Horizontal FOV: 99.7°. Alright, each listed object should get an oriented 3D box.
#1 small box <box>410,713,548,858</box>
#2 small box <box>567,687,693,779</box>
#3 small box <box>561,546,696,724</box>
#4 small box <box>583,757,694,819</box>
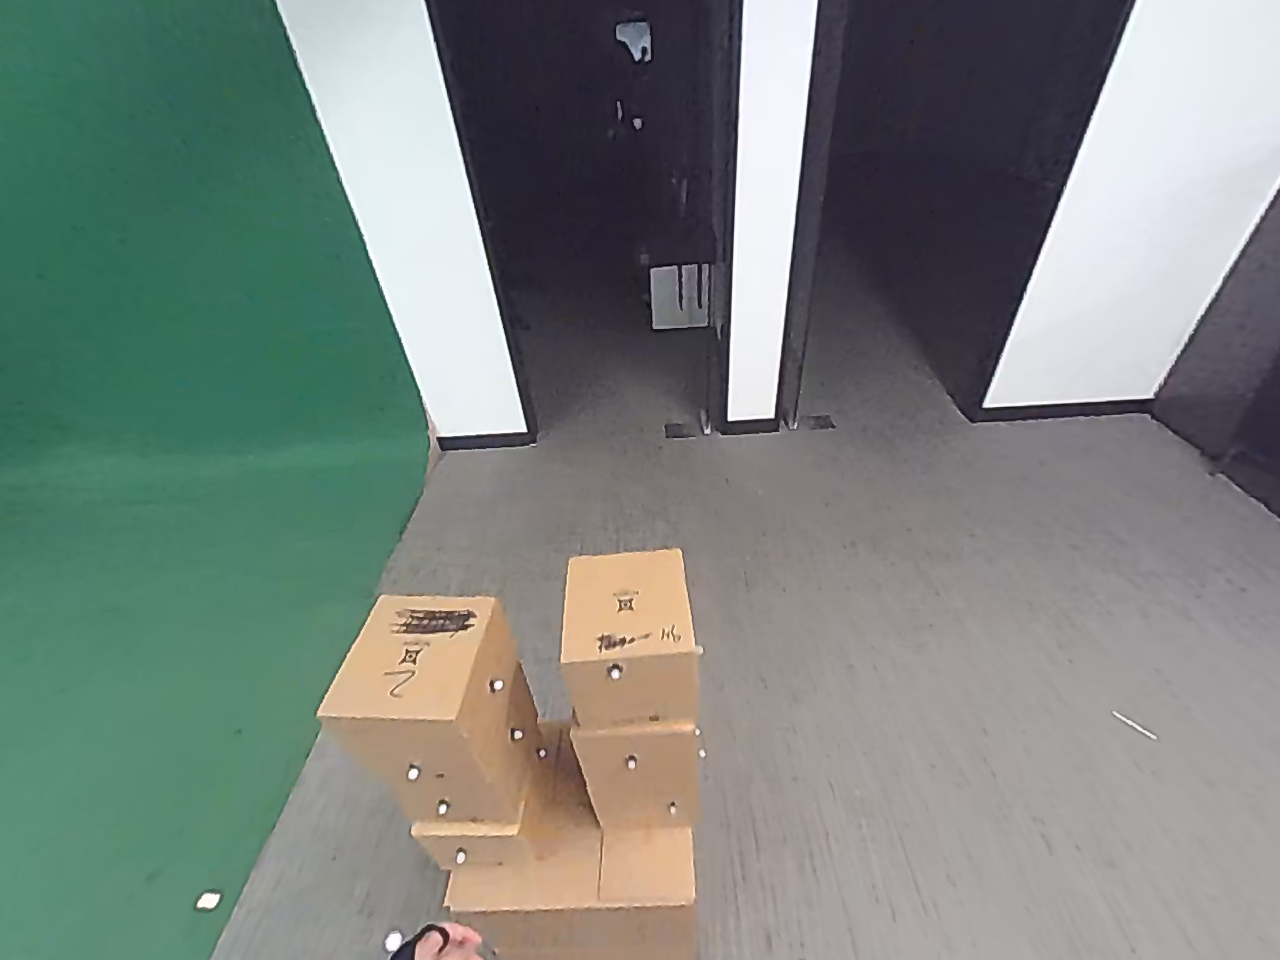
[{"bbox_3d":[-0.261,0.524,0.927,0.168,0.176,0.179,-1,39,3],"label":"small box"},{"bbox_3d":[-0.006,0.352,0.854,0.179,0.176,0.168,-3,39,4],"label":"small box"},{"bbox_3d":[-0.010,0.216,0.761,0.168,0.176,0.179,-5,38,2],"label":"small box"},{"bbox_3d":[0.003,0.479,0.958,0.179,0.176,0.168,-4,39,3],"label":"small box"}]
